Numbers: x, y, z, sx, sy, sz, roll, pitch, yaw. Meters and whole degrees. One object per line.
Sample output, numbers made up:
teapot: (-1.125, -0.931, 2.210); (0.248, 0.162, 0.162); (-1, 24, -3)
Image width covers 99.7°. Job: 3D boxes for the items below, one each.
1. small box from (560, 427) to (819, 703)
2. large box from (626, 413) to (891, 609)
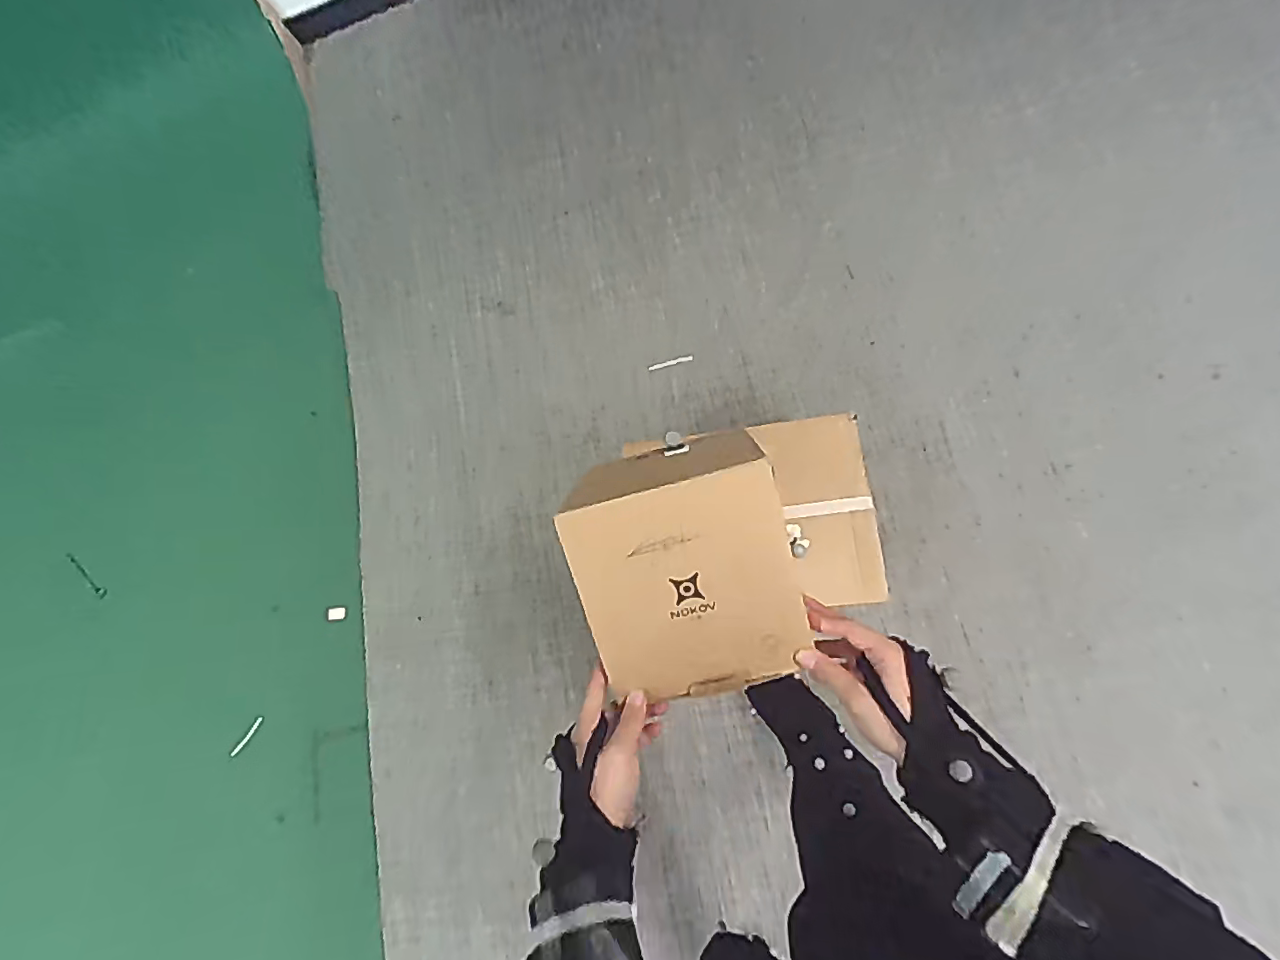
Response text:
small box: (0.047, 0.064, 0.493); (0.168, 0.176, 0.179); (-16, 101, 8)
large box: (0.209, 0.093, 1.046); (0.408, 0.320, 0.320); (-8, 78, 9)
